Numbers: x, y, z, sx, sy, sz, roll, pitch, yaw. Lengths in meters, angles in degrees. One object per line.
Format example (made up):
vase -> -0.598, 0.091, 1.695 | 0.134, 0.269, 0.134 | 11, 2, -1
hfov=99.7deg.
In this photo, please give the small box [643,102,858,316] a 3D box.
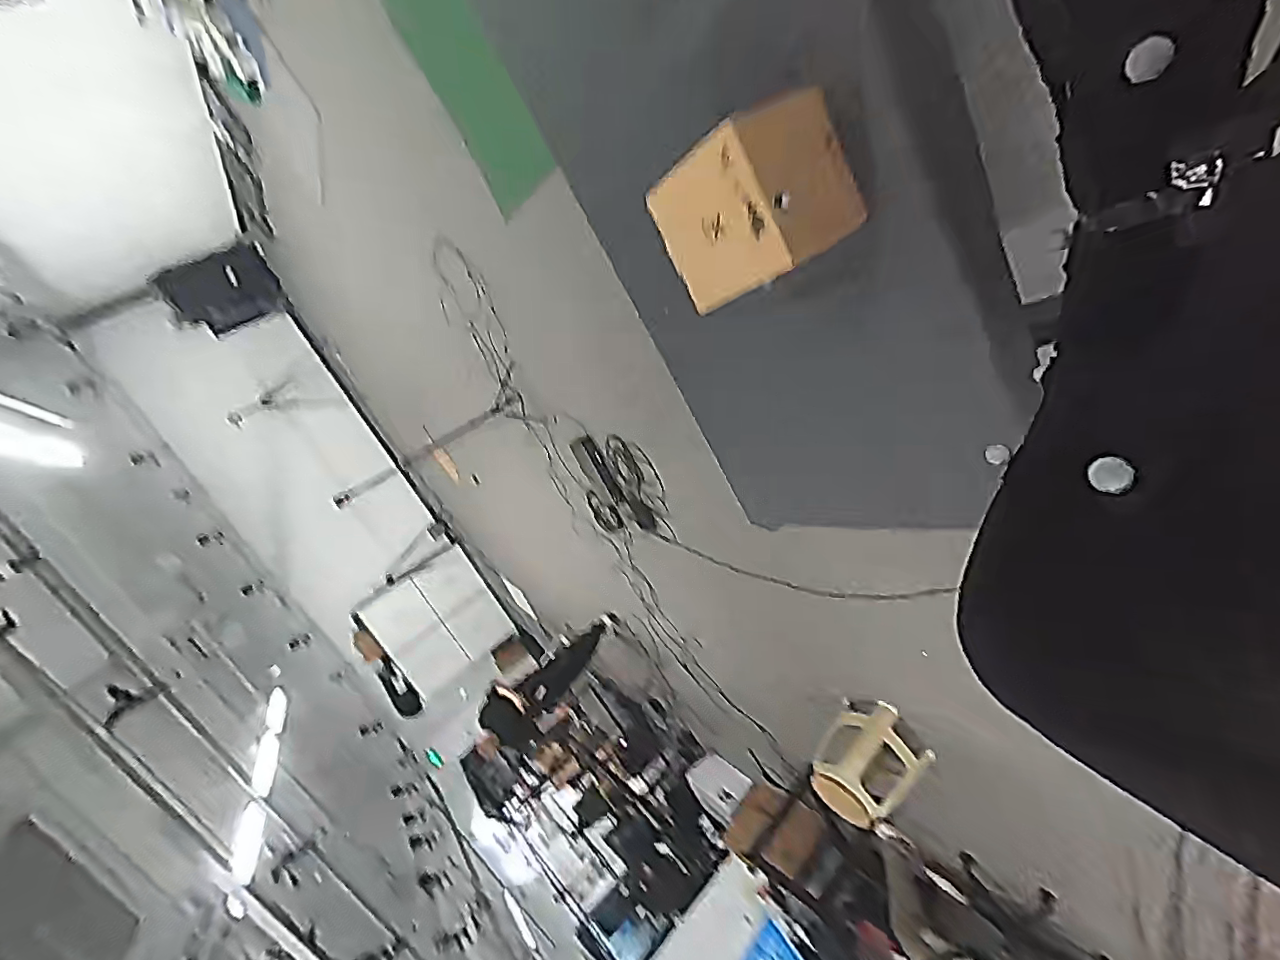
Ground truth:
small box -> 0.142, -0.343, 0.702 | 0.179, 0.176, 0.168 | -5, 119, 60
